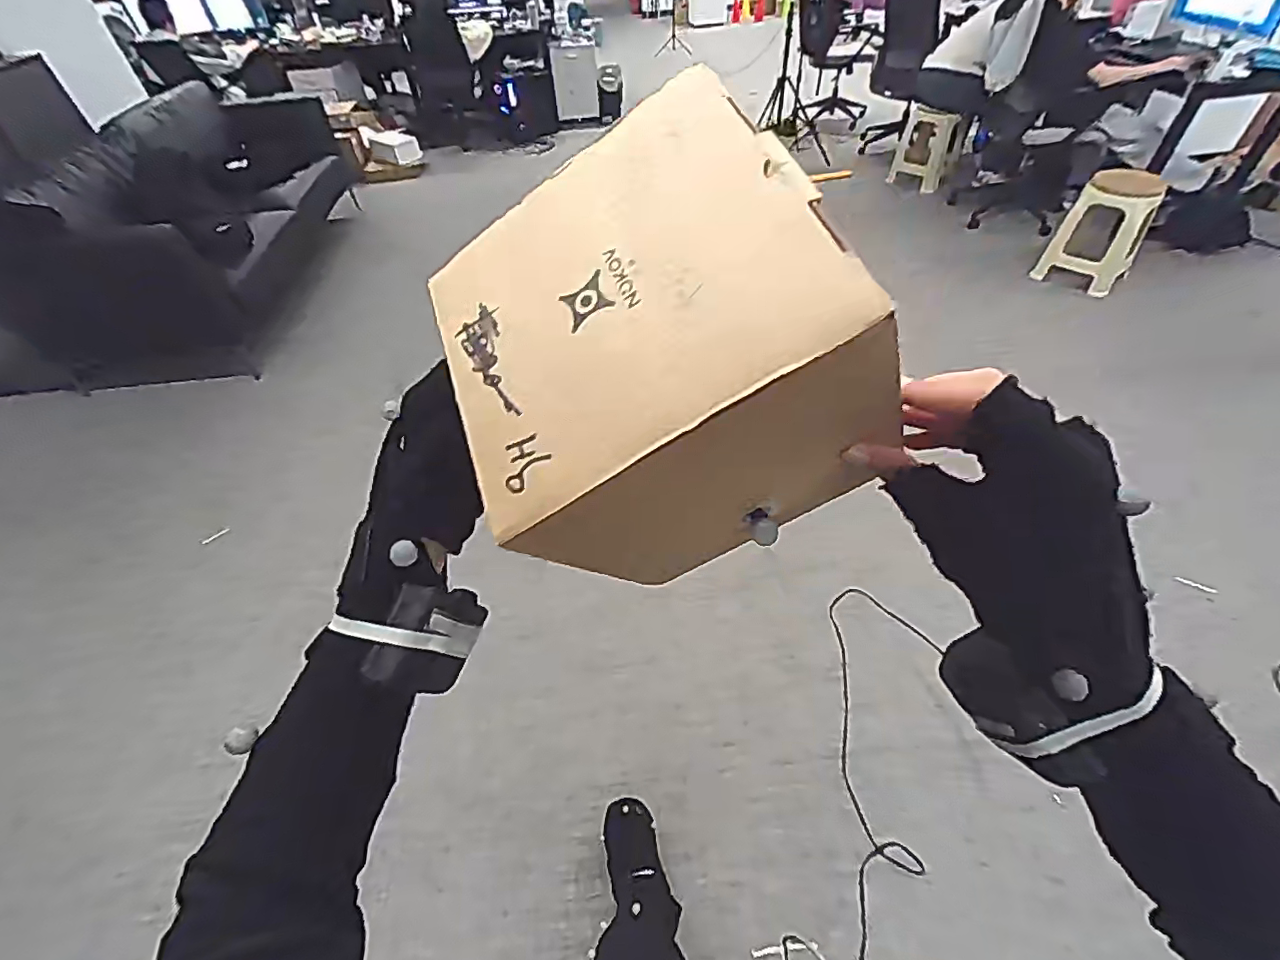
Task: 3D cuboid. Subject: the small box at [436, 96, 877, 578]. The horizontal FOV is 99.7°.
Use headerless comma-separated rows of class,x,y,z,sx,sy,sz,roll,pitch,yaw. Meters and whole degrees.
small box,0.018,-0.056,0.317,0.179,0.176,0.168,-29,63,16
